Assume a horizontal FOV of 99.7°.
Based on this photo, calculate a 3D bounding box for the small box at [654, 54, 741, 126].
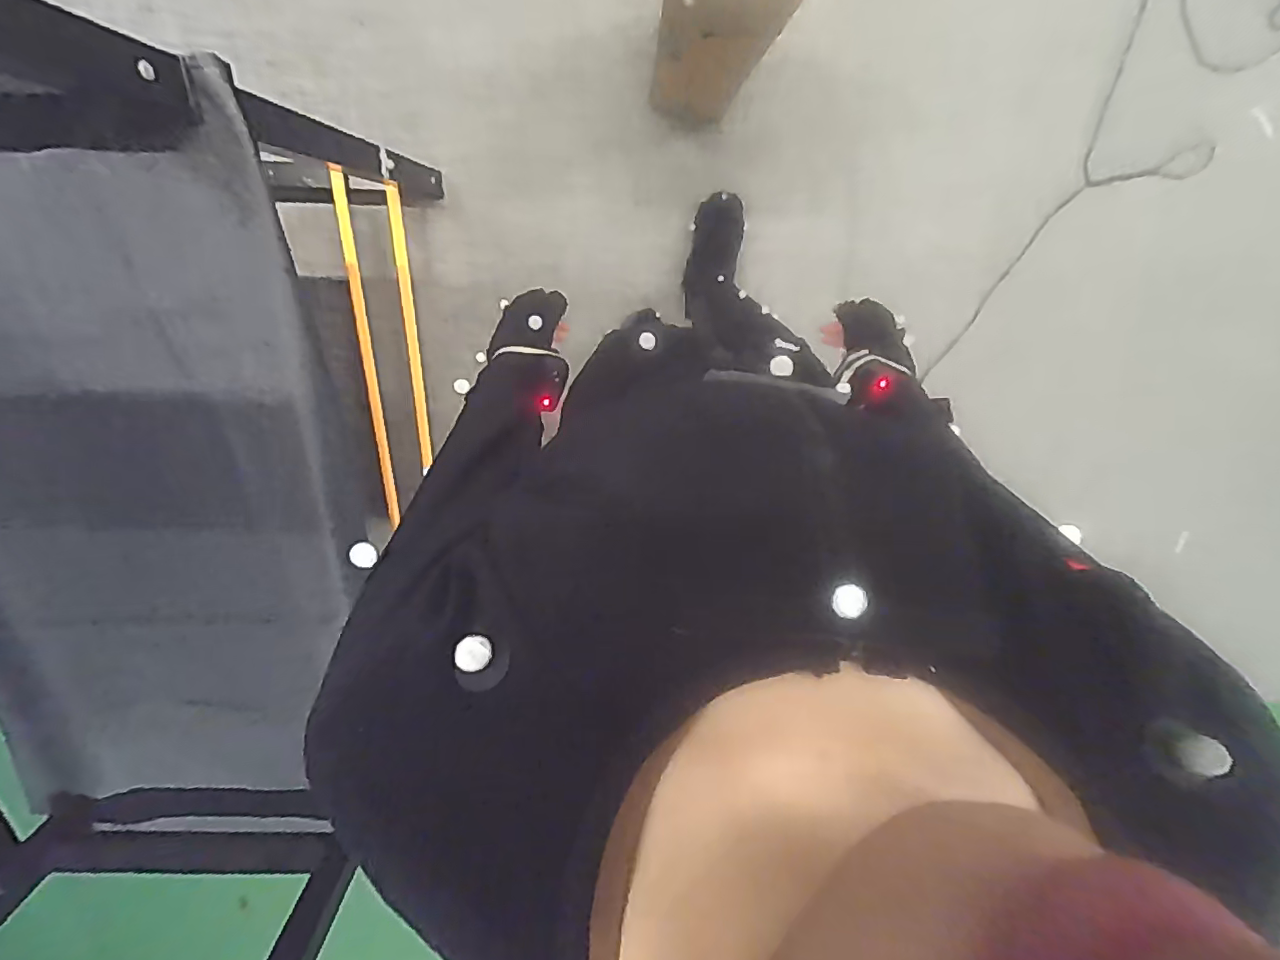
[{"bbox_3d":[0.120,-0.848,1.096,0.168,0.176,0.179,8,114,-3],"label":"small box"}]

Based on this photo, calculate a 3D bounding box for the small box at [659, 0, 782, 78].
[{"bbox_3d":[0.118,-0.722,0.794,0.168,0.176,0.179,5,112,-2],"label":"small box"}]
